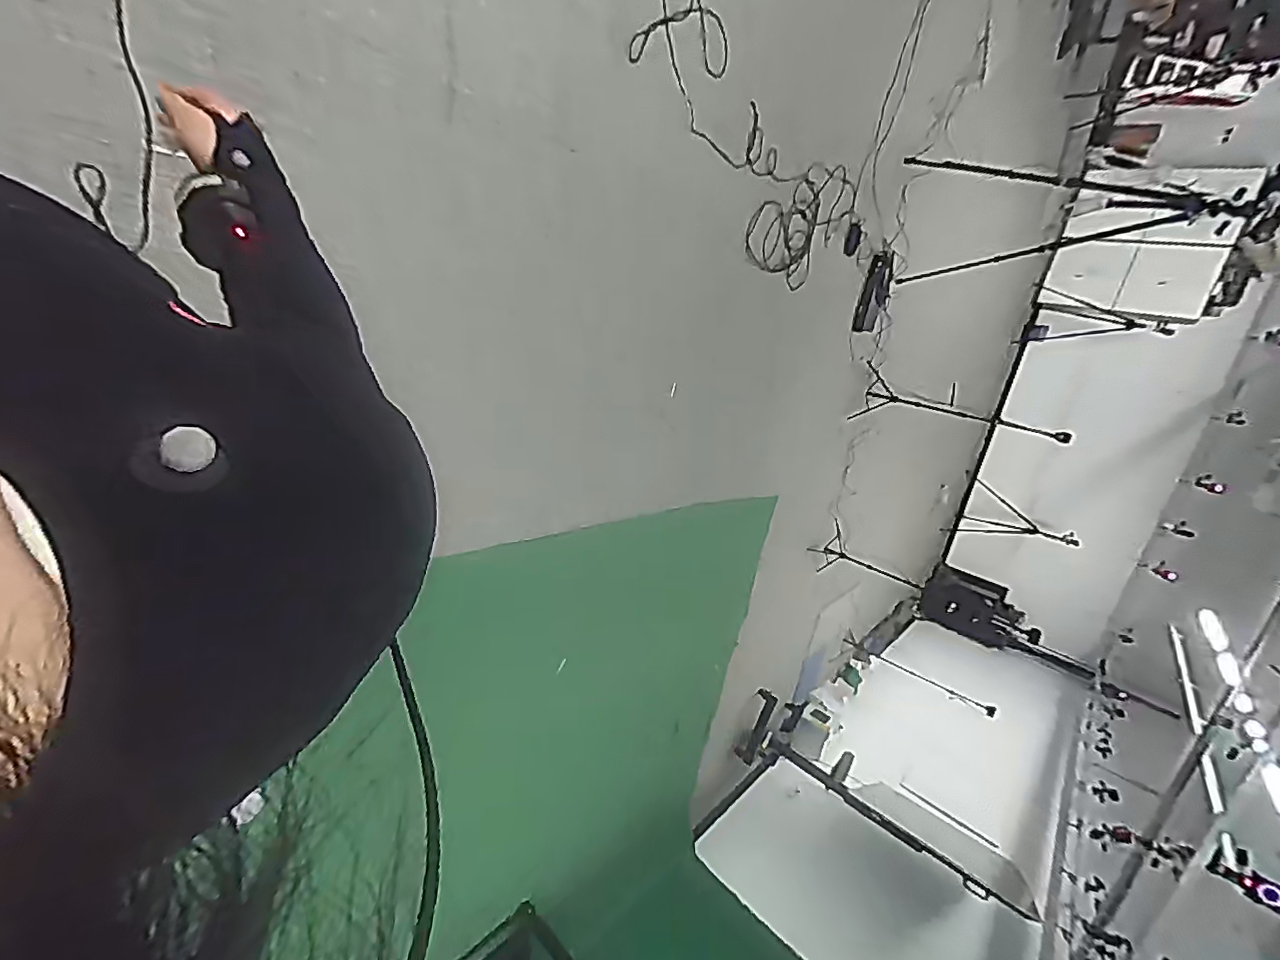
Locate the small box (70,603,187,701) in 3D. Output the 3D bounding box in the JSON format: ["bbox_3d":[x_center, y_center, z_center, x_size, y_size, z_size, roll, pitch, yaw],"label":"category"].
[{"bbox_3d":[-1.092,0.379,1.156,0.168,0.176,0.179,-5,112,-48],"label":"small box"}]
